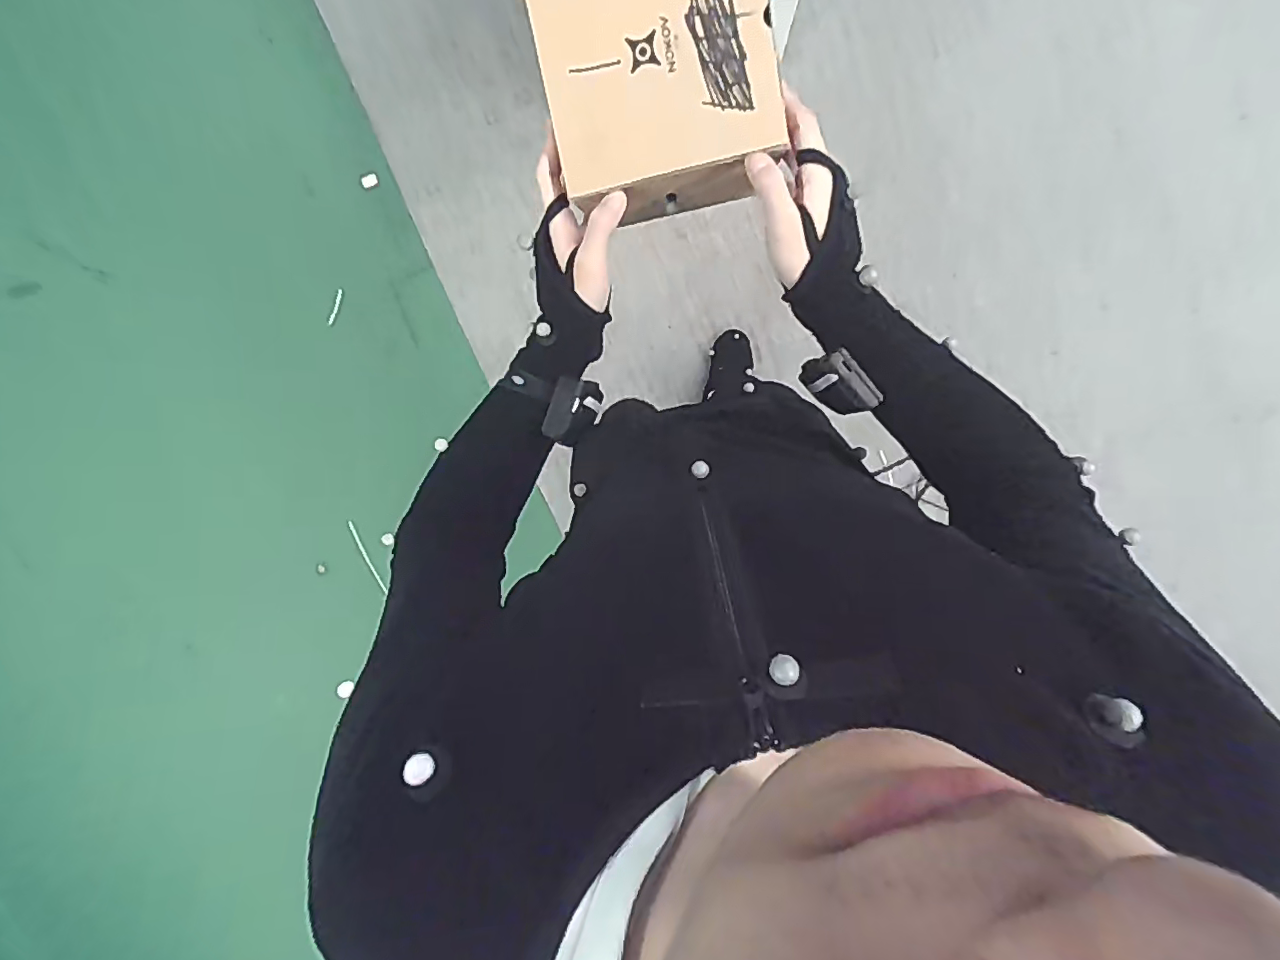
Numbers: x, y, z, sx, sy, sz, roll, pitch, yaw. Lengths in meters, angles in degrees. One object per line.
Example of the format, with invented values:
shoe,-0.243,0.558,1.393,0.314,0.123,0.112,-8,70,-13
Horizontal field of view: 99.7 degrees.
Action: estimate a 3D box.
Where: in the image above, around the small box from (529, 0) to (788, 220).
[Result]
small box,0.020,-0.342,0.470,0.179,0.176,0.168,-9,105,10
